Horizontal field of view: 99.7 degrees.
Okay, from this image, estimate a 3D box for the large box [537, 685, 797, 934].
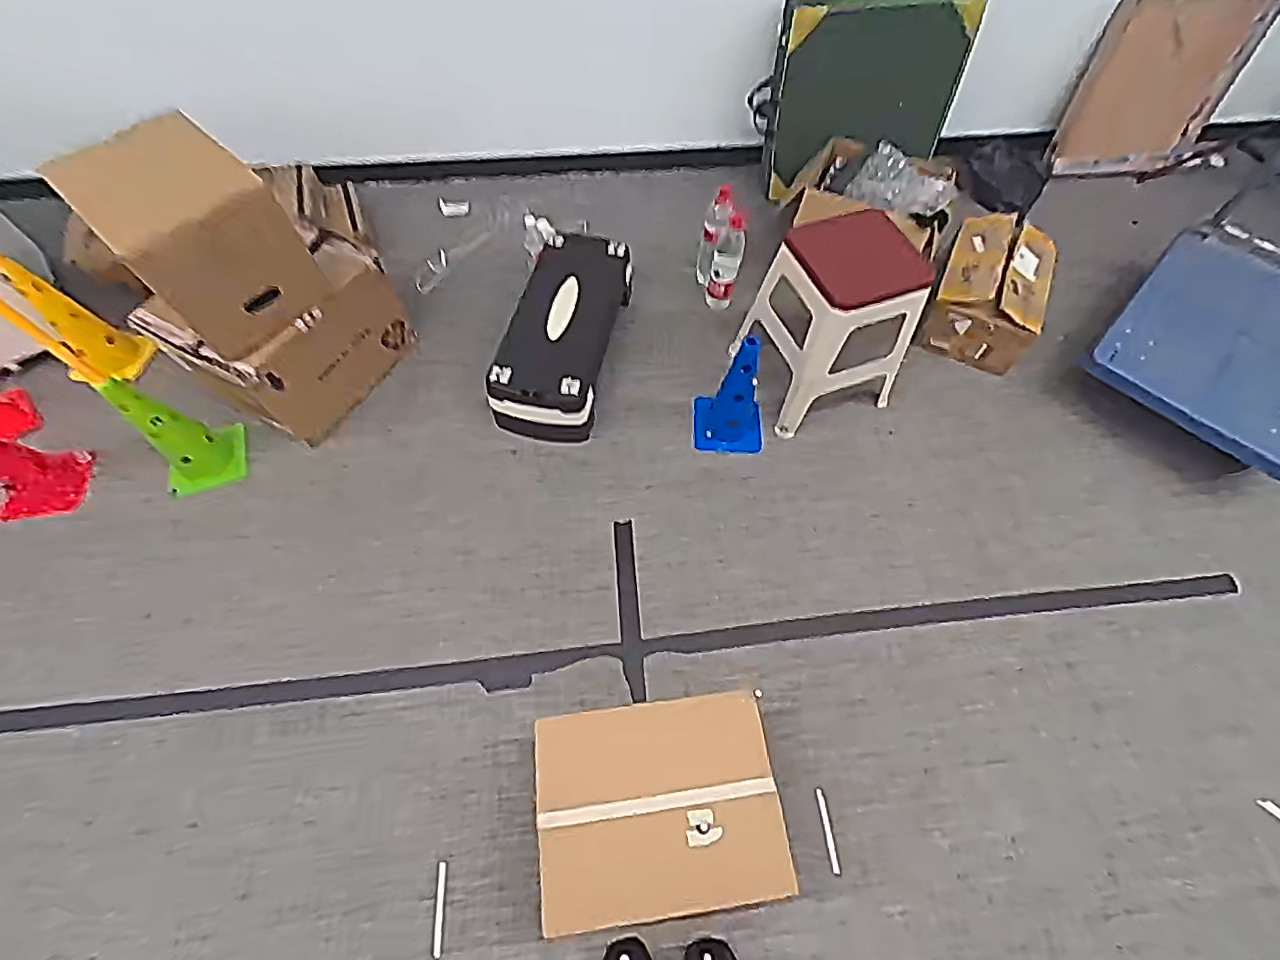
[{"bbox_3d":[0.028,0.607,1.039,0.408,0.320,0.320,-6,62,-6],"label":"large box"}]
